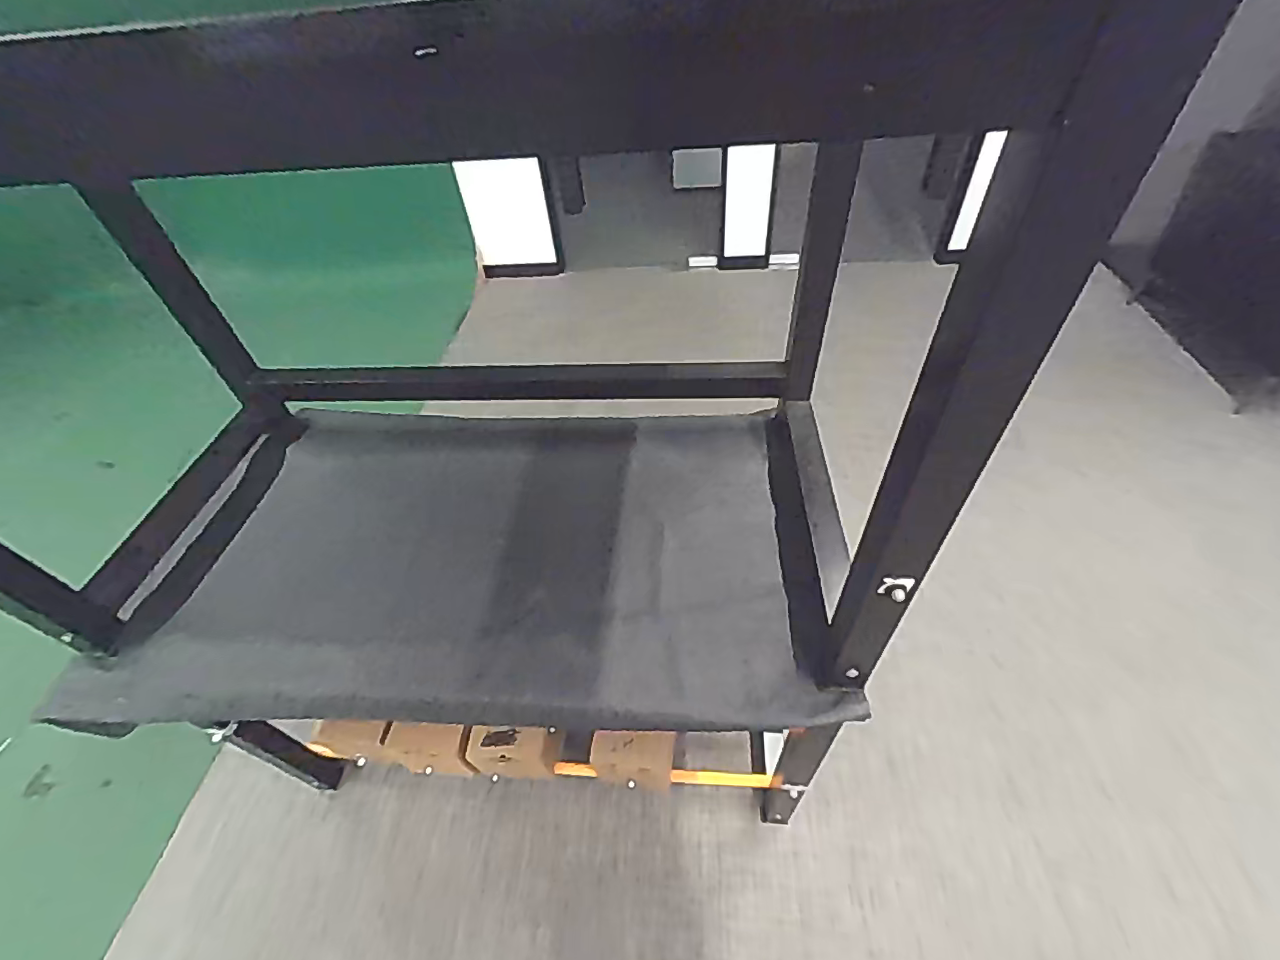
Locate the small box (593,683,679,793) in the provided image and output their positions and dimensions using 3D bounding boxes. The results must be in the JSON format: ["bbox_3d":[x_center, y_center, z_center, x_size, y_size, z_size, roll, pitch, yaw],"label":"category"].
[{"bbox_3d":[0.000,0.593,1.243,0.168,0.176,0.179,3,49,10],"label":"small box"}]
